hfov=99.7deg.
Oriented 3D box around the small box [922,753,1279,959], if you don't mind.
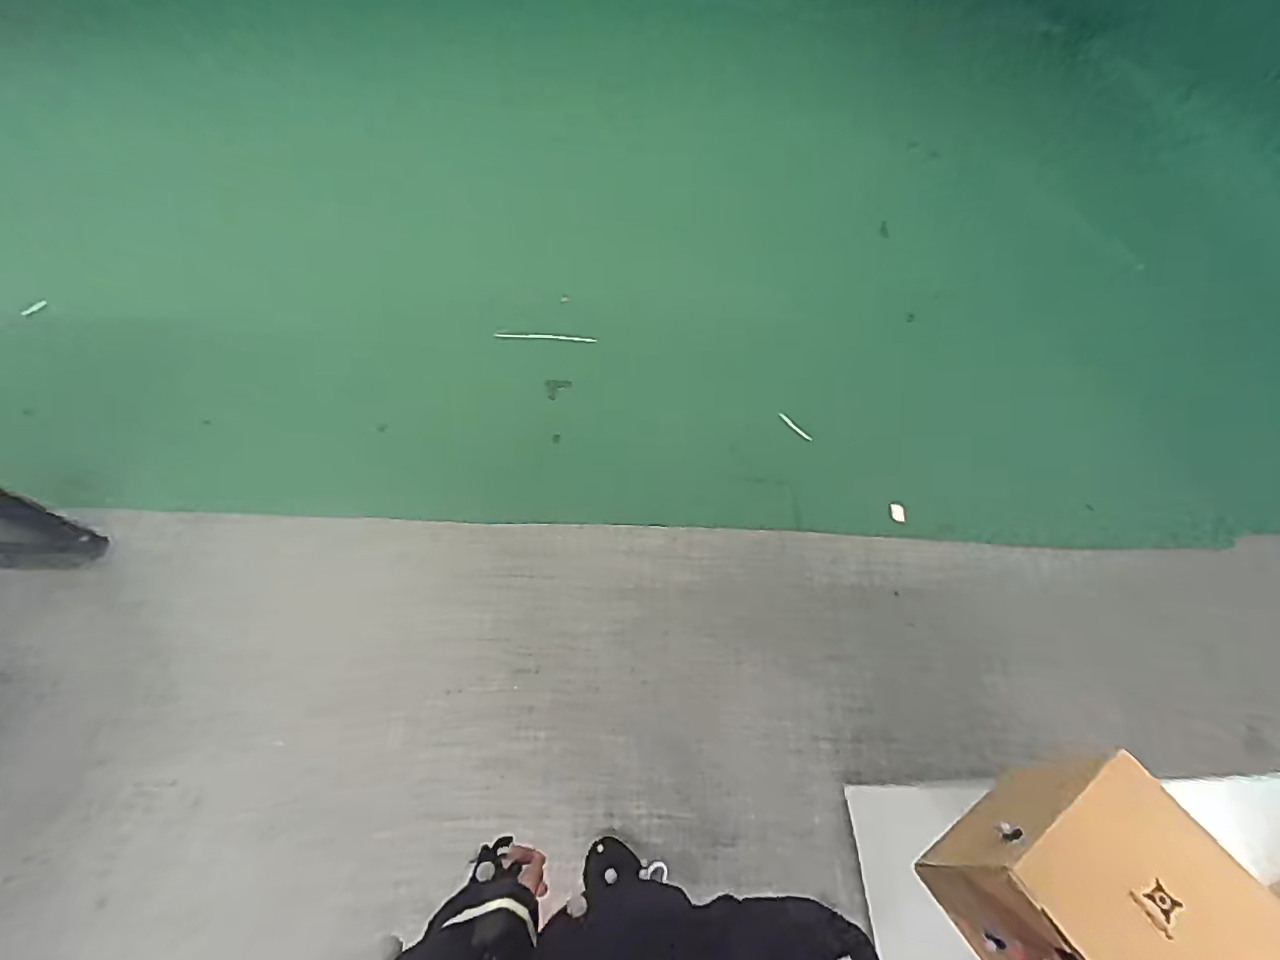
[{"bbox_3d":[0.406,0.385,0.498,0.179,0.176,0.168,-27,62,-20],"label":"small box"}]
